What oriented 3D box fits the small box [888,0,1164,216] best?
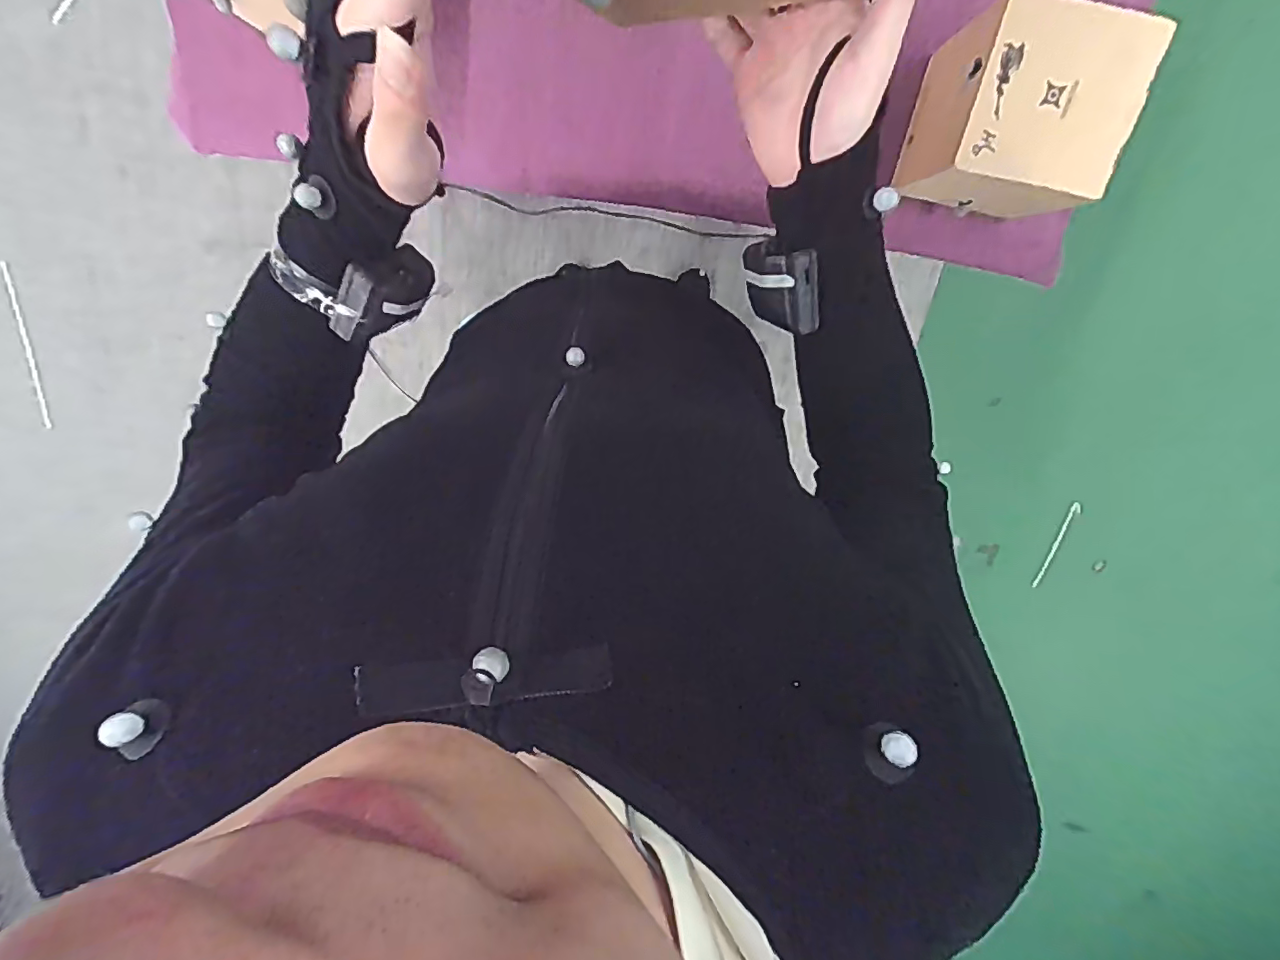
[{"bbox_3d":[0.437,-0.427,0.648,0.179,0.176,0.168,11,109,-3],"label":"small box"}]
